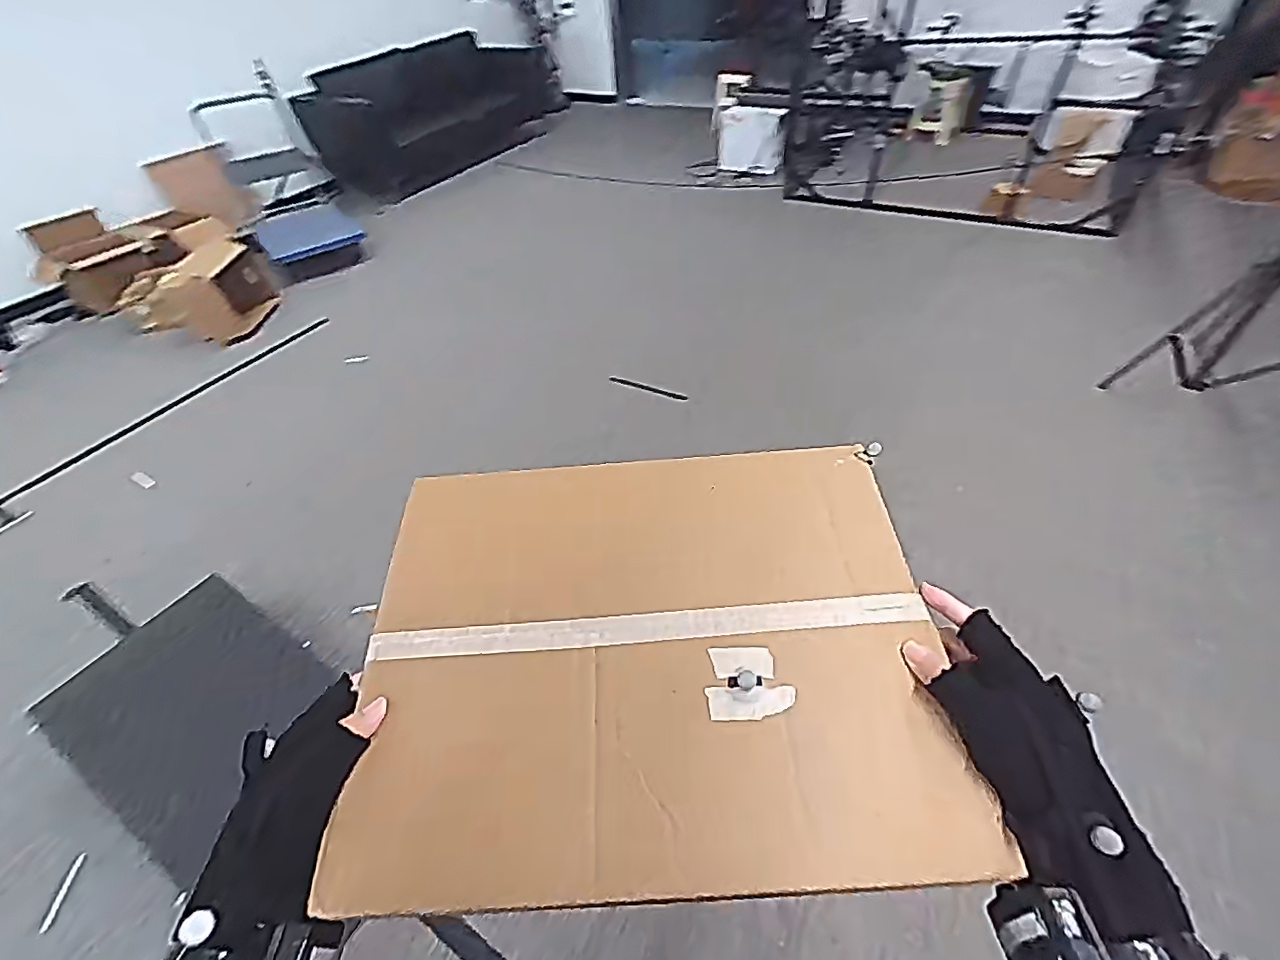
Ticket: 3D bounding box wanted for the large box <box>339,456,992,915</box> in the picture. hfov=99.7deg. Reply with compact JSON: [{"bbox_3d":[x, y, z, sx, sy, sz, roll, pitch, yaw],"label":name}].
[{"bbox_3d":[0.012,0.206,0.529,0.408,0.320,0.320,-5,53,0],"label":"large box"}]
